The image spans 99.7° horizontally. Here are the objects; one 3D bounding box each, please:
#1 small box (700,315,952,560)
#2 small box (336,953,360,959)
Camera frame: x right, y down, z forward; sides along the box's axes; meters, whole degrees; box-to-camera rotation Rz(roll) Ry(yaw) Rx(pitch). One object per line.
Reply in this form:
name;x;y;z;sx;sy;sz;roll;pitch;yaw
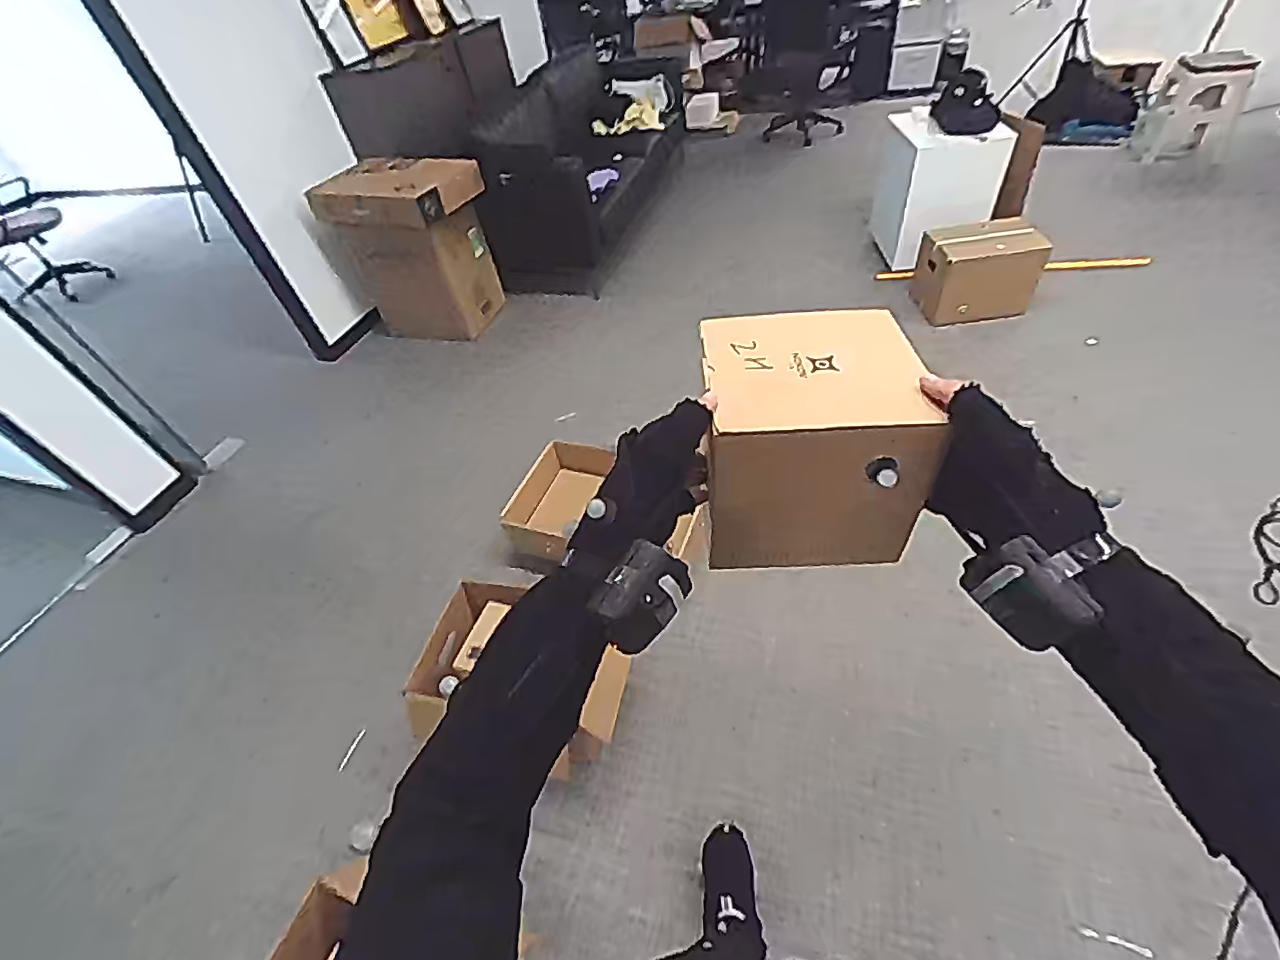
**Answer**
small box;0.151;-0.038;0.513;0.179;0.176;0.168;-2;44;3
small box;-0.450;0.919;0.877;0.168;0.176;0.179;11;48;20
